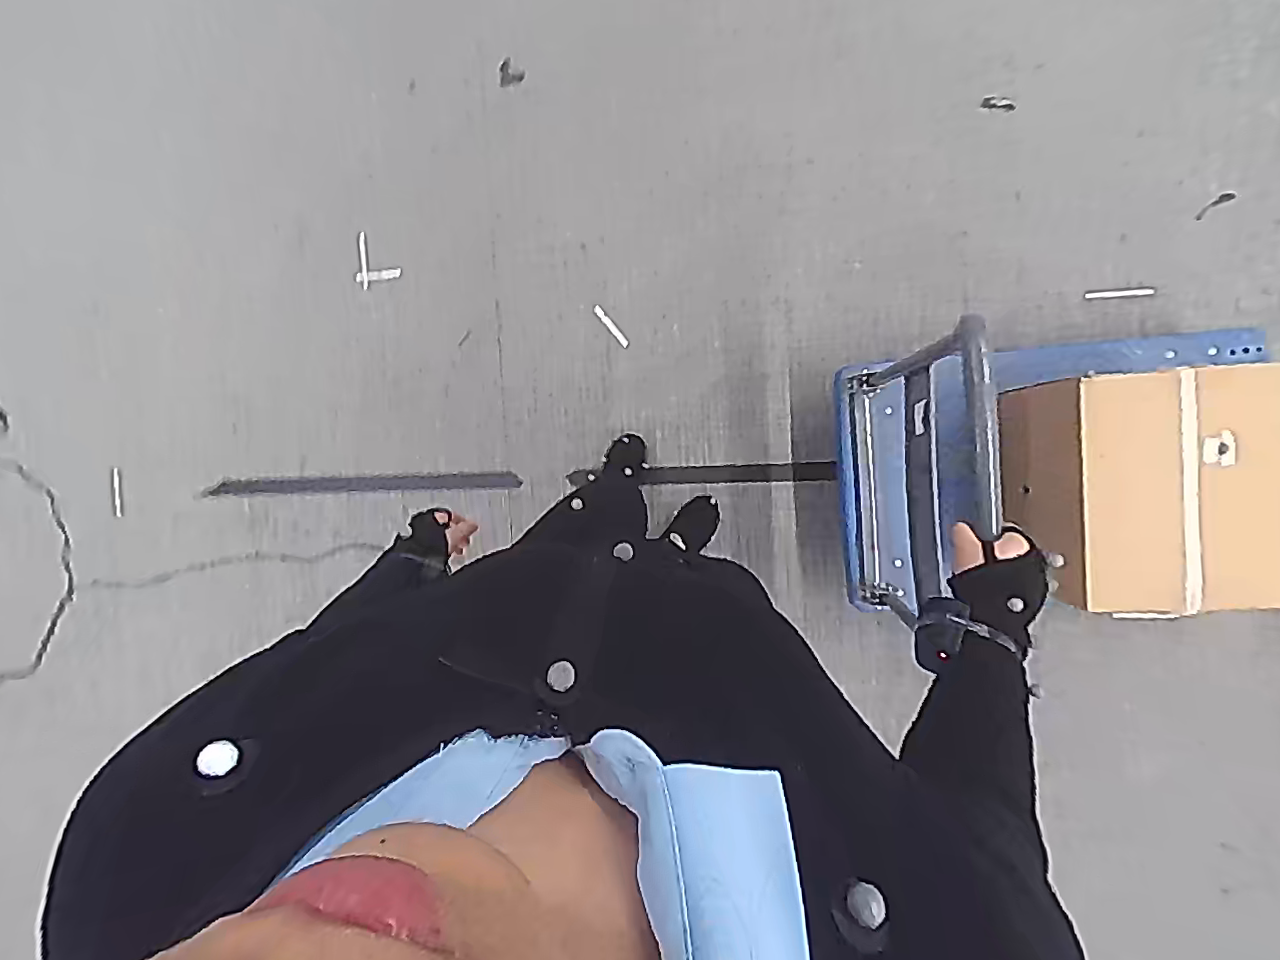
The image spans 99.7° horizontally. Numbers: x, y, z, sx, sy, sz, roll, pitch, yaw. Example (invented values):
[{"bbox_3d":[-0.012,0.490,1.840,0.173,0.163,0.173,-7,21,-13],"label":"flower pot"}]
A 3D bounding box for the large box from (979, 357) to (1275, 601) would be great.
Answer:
[{"bbox_3d":[0.913,0.001,1.065,0.320,0.320,0.408,-3,91,6],"label":"large box"}]
